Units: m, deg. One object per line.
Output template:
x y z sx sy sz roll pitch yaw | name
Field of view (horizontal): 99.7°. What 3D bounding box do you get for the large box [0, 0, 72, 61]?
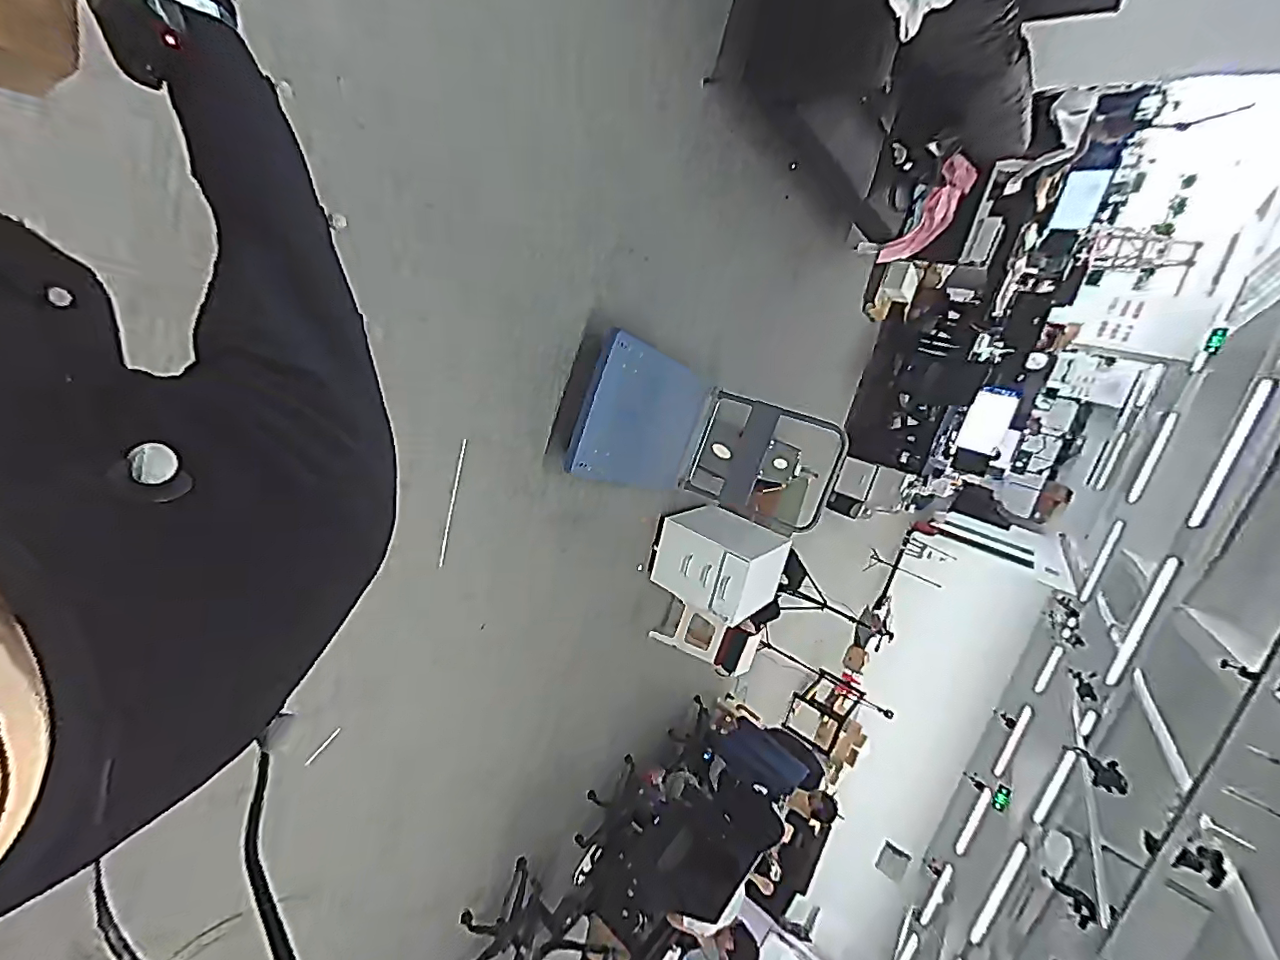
-0.673 -0.534 0.327 0.408 0.320 0.320 -10 119 -52 | large box
